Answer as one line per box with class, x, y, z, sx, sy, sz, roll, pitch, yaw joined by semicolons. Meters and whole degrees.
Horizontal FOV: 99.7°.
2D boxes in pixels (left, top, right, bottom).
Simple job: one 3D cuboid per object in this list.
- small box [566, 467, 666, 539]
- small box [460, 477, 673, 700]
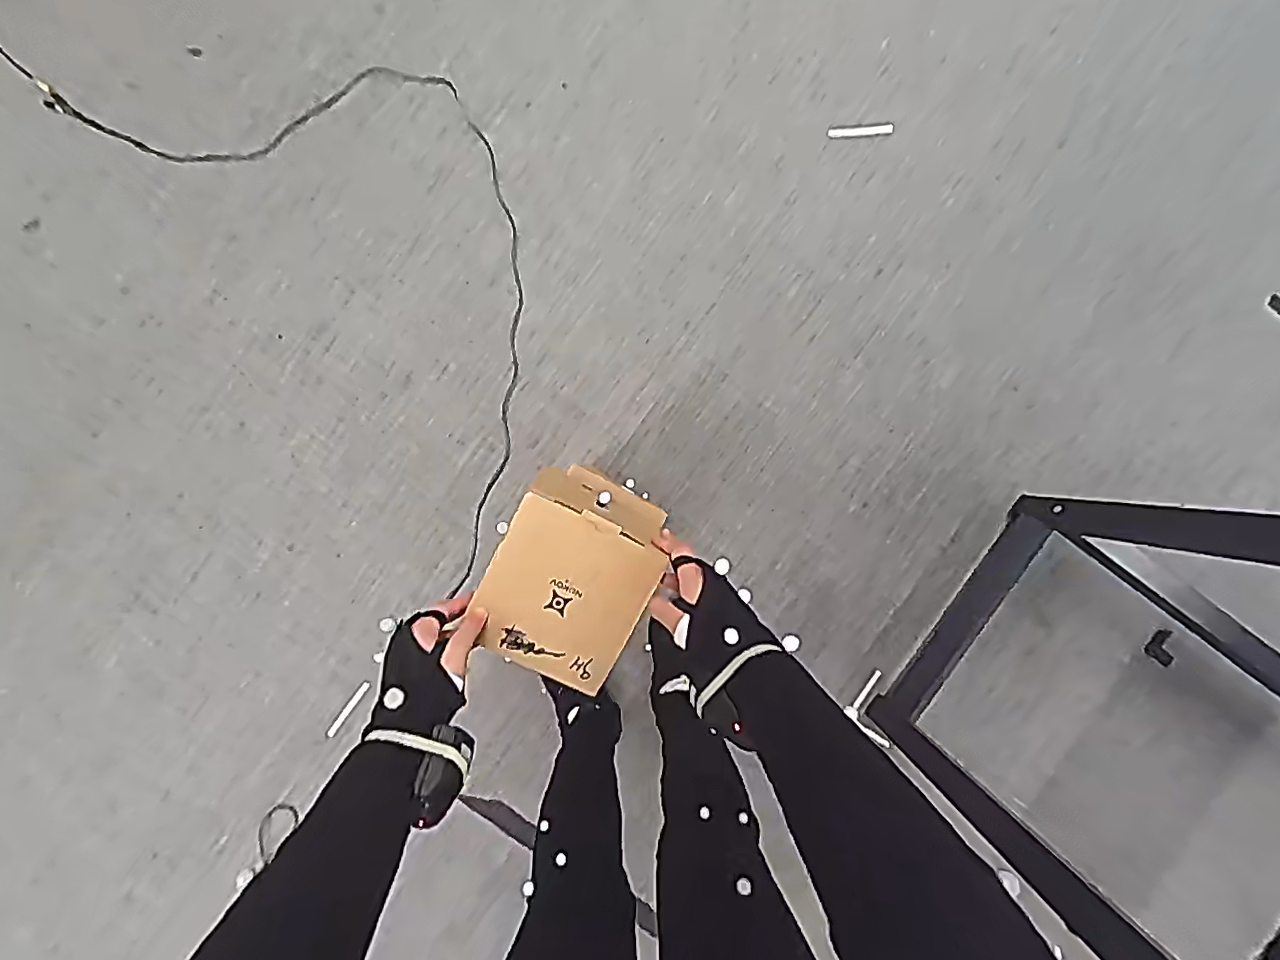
small box;-0.072;0.094;0.891;0.168;0.176;0.179;29;88;-2
small box;-0.082;0.111;0.634;0.168;0.176;0.179;27;95;-7
